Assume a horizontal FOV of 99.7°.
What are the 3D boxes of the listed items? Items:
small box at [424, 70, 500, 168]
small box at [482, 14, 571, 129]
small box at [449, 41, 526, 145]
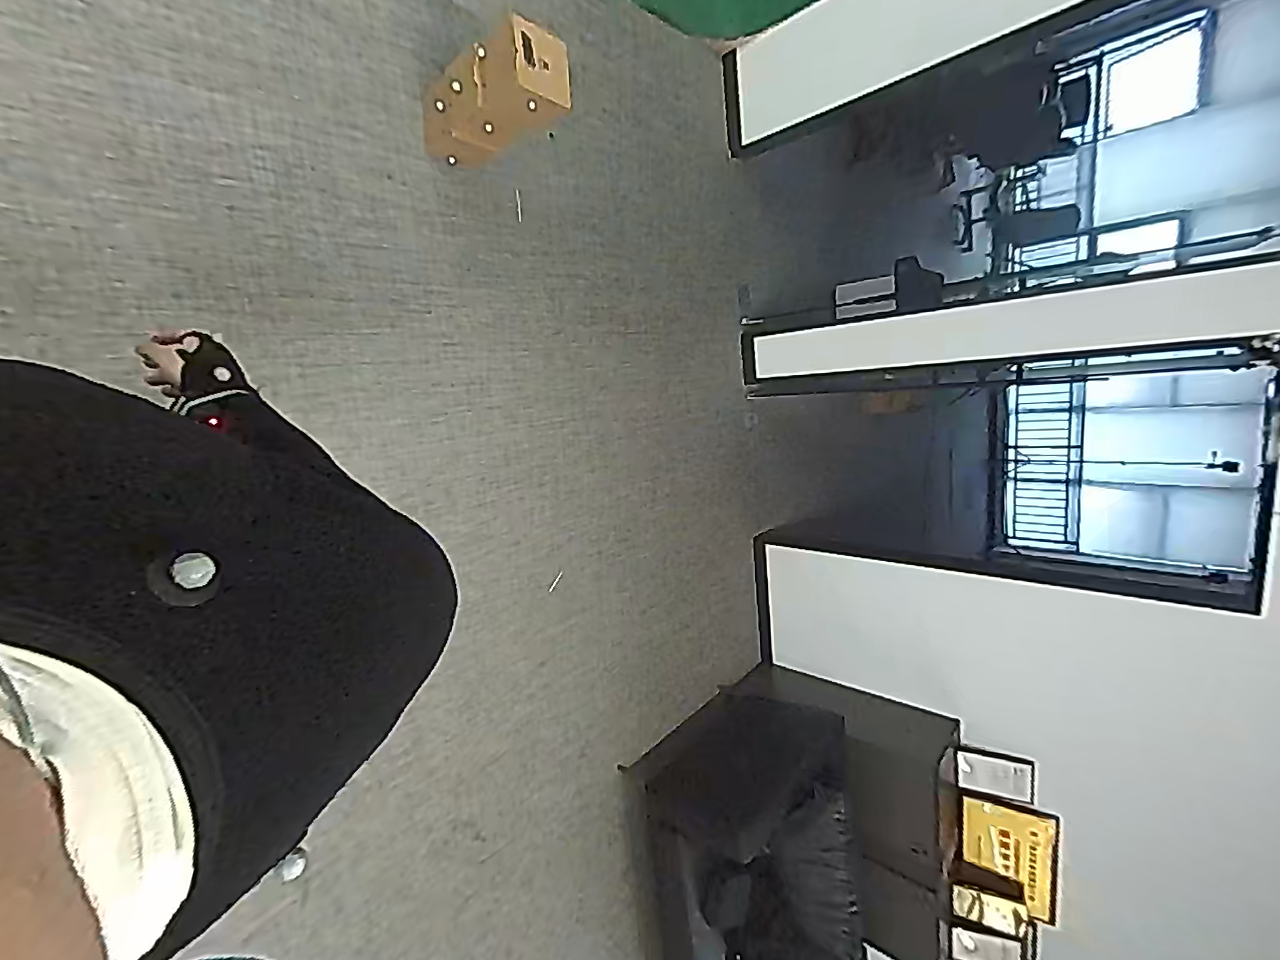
[{"bbox_3d":[-0.554,-1.108,1.677,0.168,0.176,0.179,-8,100,-46],"label":"small box"},{"bbox_3d":[-0.311,-1.086,1.458,0.179,0.176,0.168,-11,101,-46],"label":"small box"},{"bbox_3d":[-0.437,-1.103,1.562,0.179,0.176,0.168,-9,100,-45],"label":"small box"}]
